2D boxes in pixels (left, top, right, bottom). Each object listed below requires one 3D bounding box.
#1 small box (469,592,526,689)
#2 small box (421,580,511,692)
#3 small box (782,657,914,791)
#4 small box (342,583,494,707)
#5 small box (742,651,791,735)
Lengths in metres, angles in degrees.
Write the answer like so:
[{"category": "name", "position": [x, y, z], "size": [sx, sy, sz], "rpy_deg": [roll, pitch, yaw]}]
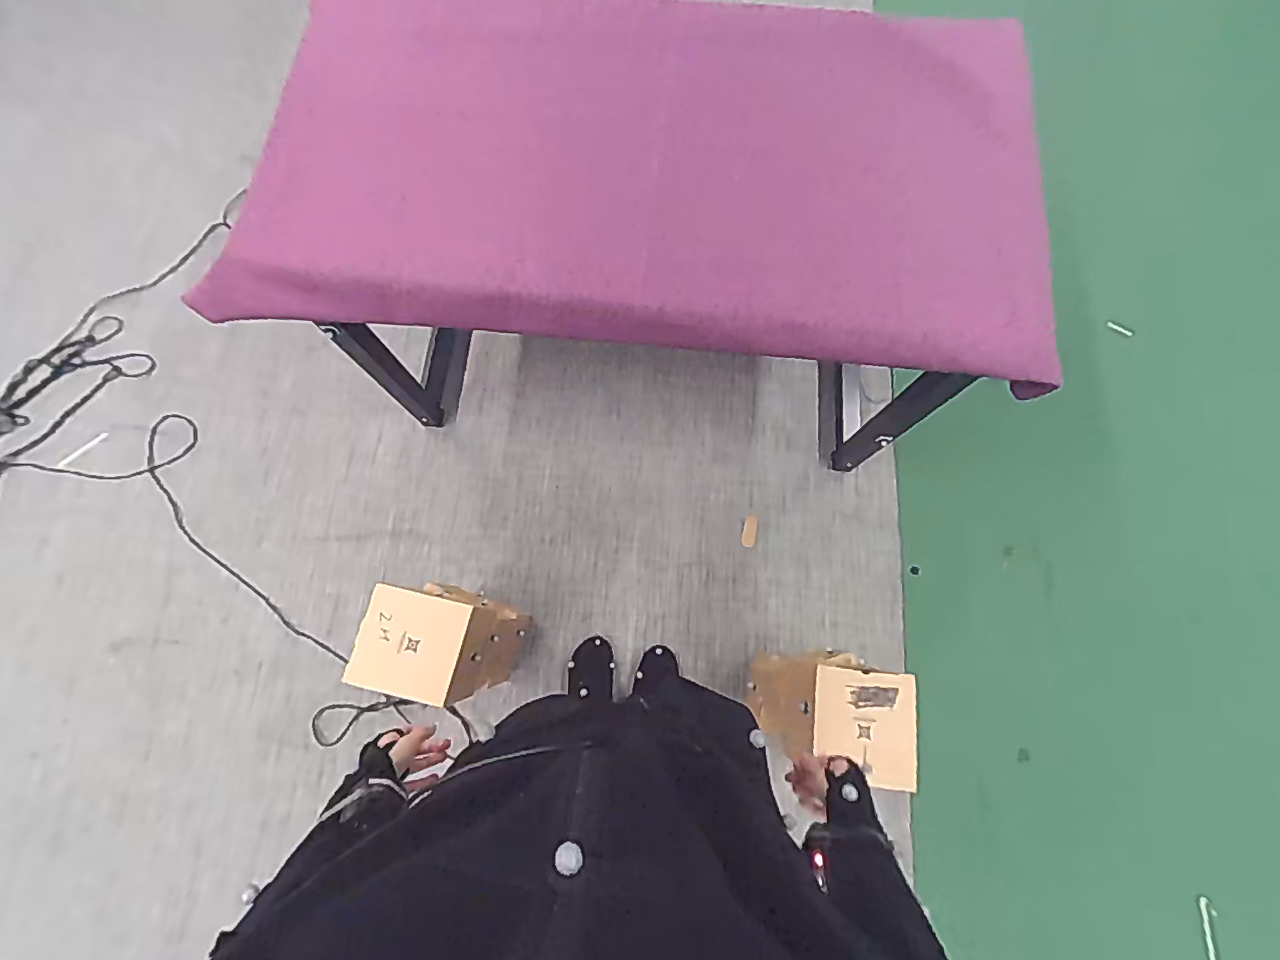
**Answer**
[{"category": "small box", "position": [-0.383, 0.370, 1.280], "size": [0.168, 0.176, 0.179], "rpy_deg": [20, 76, 5]}, {"category": "small box", "position": [-0.389, 0.329, 1.123], "size": [0.168, 0.176, 0.179], "rpy_deg": [25, 76, 7]}, {"category": "small box", "position": [0.353, 0.410, 0.940], "size": [0.168, 0.176, 0.179], "rpy_deg": [7, 76, 0]}, {"category": "small box", "position": [-0.379, 0.289, 0.963], "size": [0.179, 0.176, 0.168], "rpy_deg": [13, 74, 4]}, {"category": "small box", "position": [0.347, 0.502, 1.256], "size": [0.179, 0.176, 0.168], "rpy_deg": [15, 76, 3]}]
